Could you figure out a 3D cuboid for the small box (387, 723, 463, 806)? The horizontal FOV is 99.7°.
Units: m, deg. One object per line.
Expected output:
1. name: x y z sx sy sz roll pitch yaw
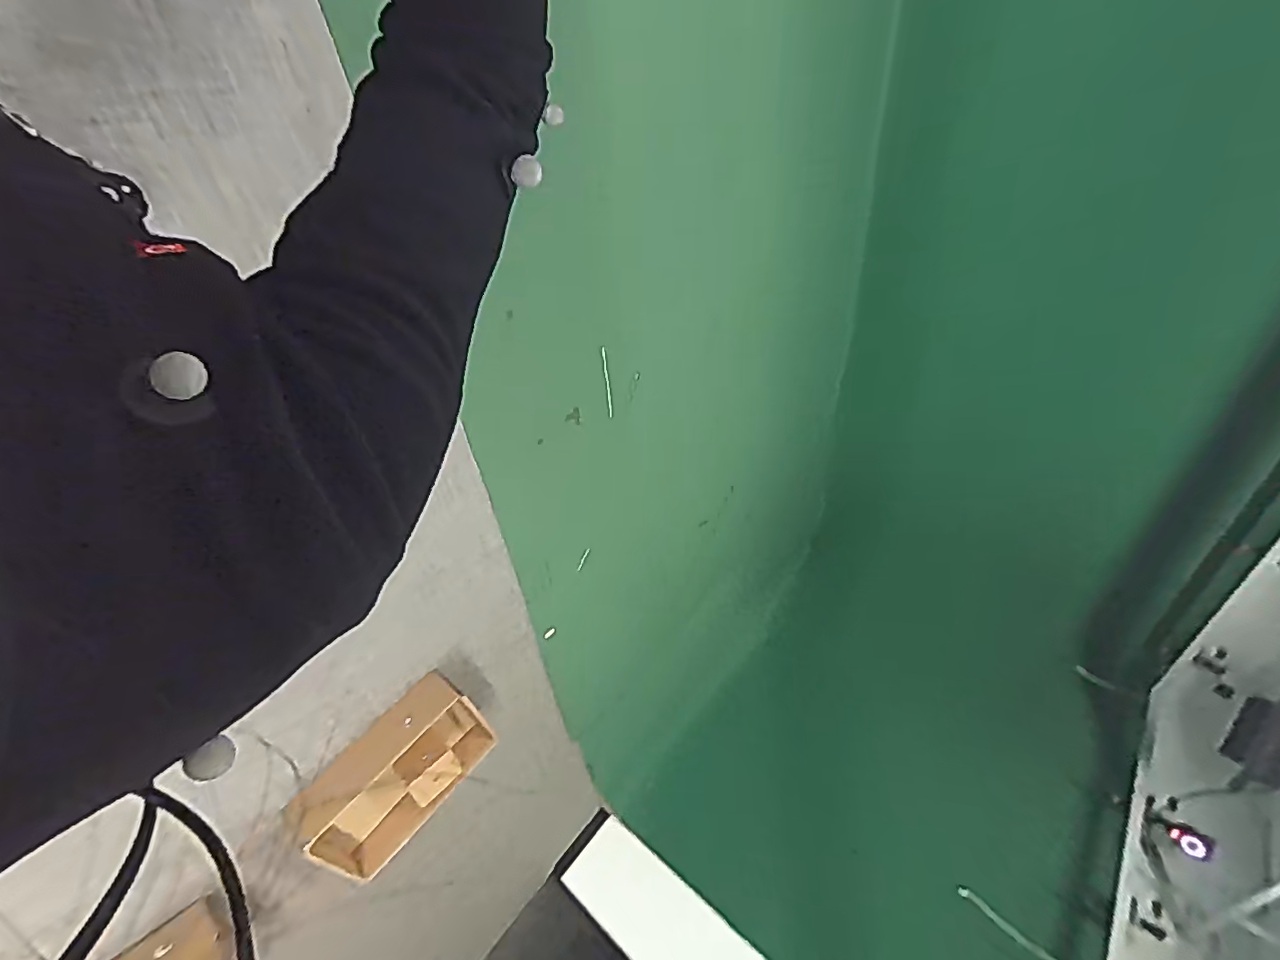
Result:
1. small box: -0.788 1.036 1.984 0.179 0.176 0.168 -36 135 -33
